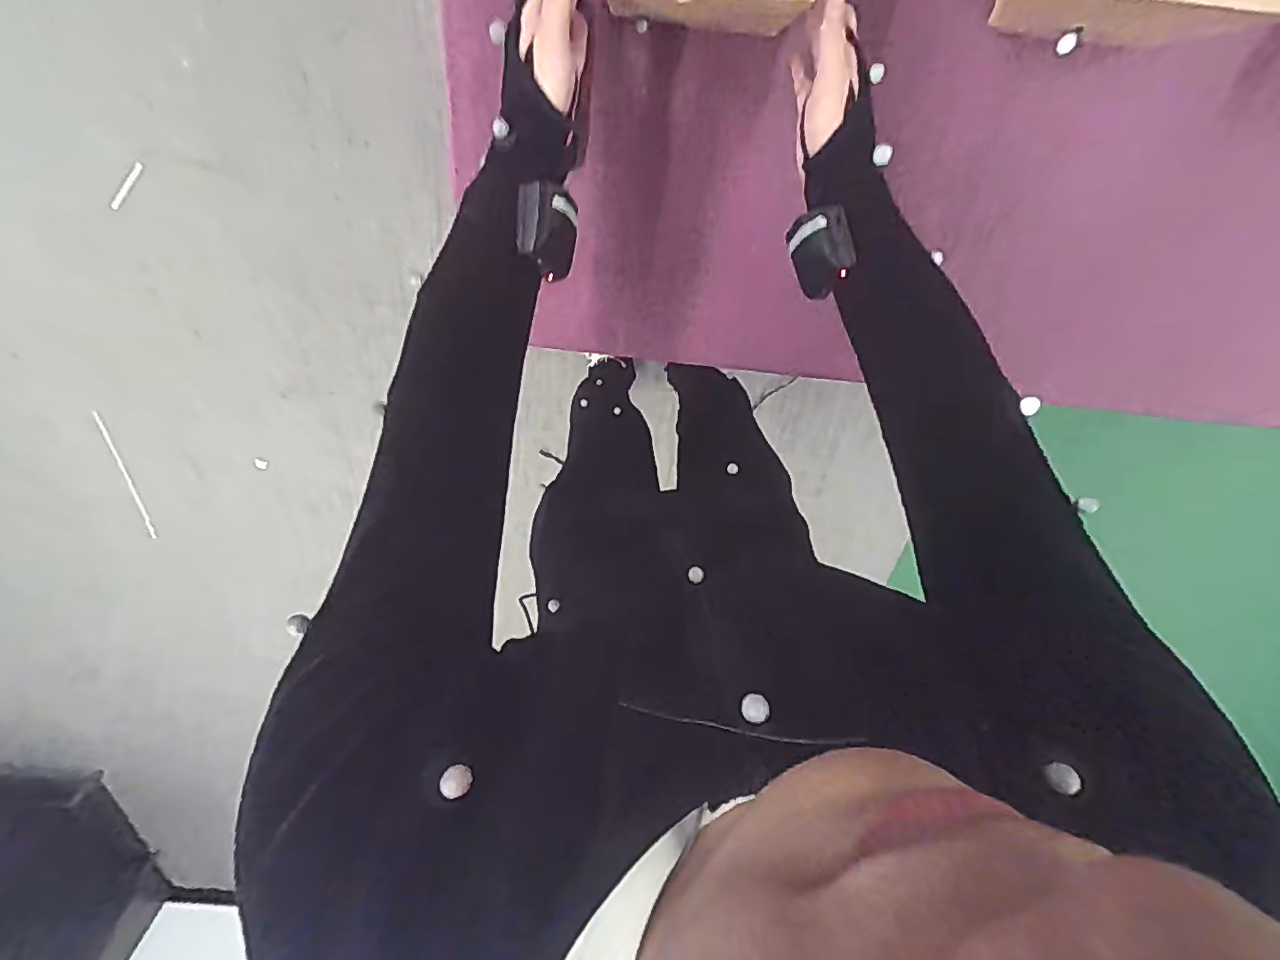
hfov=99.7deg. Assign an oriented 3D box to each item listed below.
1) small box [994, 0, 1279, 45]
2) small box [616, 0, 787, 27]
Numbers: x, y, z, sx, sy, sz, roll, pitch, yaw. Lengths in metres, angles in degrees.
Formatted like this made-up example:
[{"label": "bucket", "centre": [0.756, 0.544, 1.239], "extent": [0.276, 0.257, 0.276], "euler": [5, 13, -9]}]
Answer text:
[{"label": "small box", "centre": [0.419, -0.466, 0.415], "extent": [0.168, 0.176, 0.179], "euler": [6, 122, -1]}, {"label": "small box", "centre": [0.054, -0.477, 0.413], "extent": [0.168, 0.176, 0.179], "euler": [5, 121, -2]}]
